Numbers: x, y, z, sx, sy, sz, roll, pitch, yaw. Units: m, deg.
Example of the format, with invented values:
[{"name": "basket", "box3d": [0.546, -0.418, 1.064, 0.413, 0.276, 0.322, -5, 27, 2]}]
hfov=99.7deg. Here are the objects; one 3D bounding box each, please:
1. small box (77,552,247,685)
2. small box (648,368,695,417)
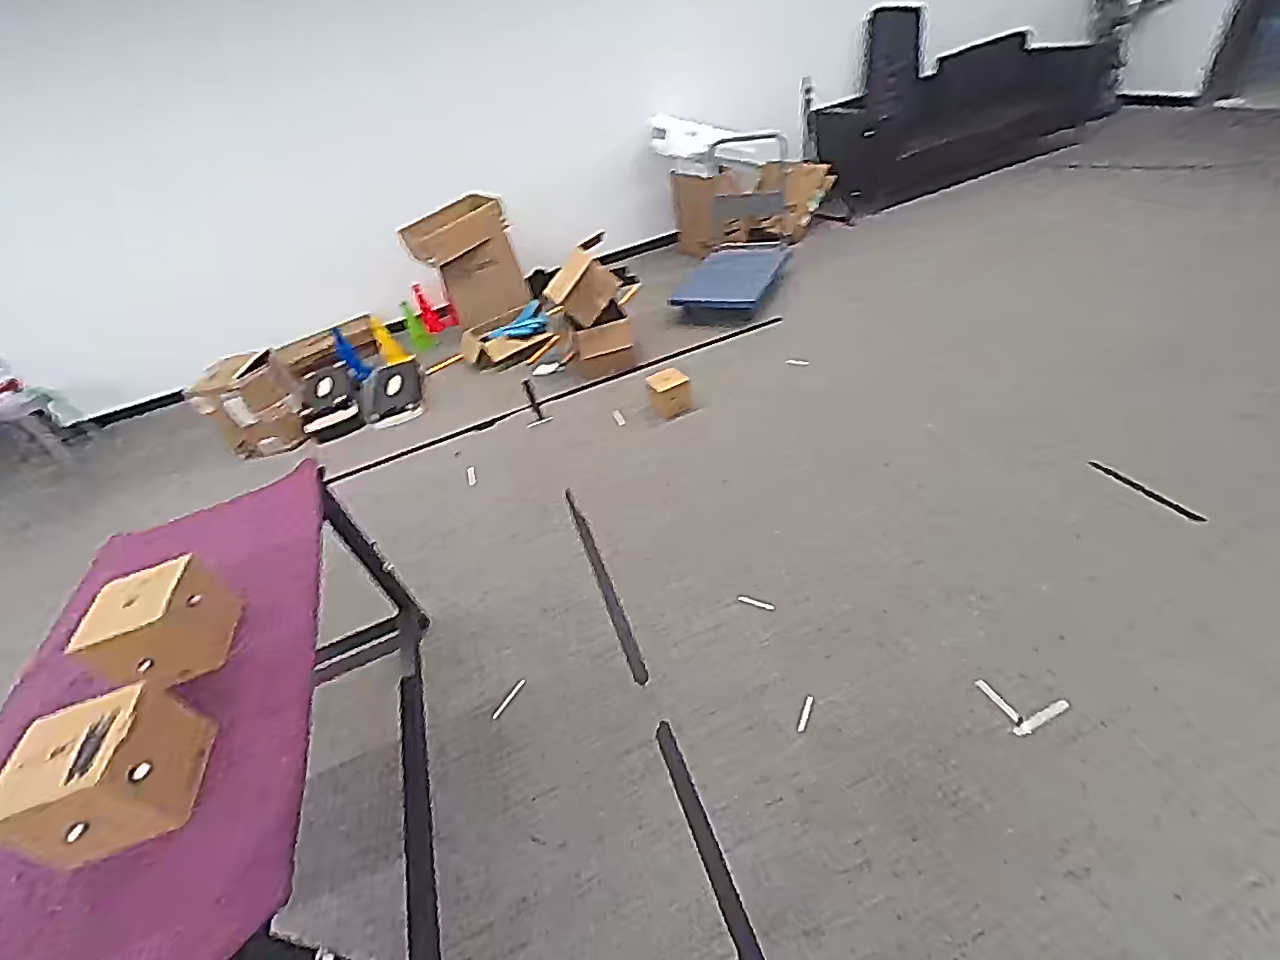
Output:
[{"name": "small box", "box3d": [-0.933, 0.283, 1.080, 0.168, 0.176, 0.179, -19, 39, -7]}, {"name": "small box", "box3d": [0.165, -0.445, 2.774, 0.168, 0.176, 0.179, -26, 40, -14]}]
